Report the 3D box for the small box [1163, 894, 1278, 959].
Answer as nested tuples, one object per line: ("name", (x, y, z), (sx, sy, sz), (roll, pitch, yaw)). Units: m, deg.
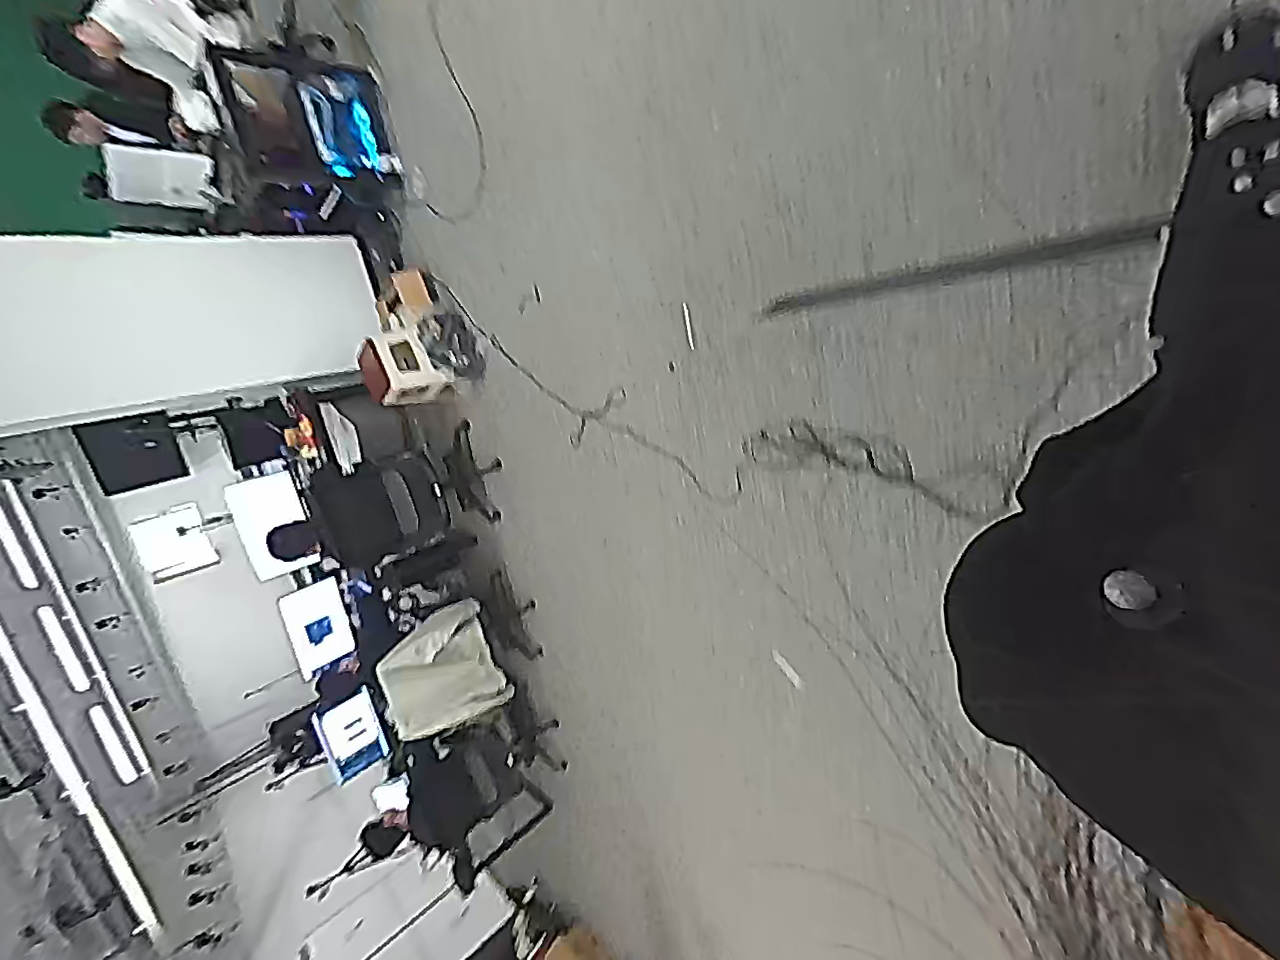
("small box", (1.348, 1.120, 1.255), (0.179, 0.176, 0.168), (-3, 106, 48))
